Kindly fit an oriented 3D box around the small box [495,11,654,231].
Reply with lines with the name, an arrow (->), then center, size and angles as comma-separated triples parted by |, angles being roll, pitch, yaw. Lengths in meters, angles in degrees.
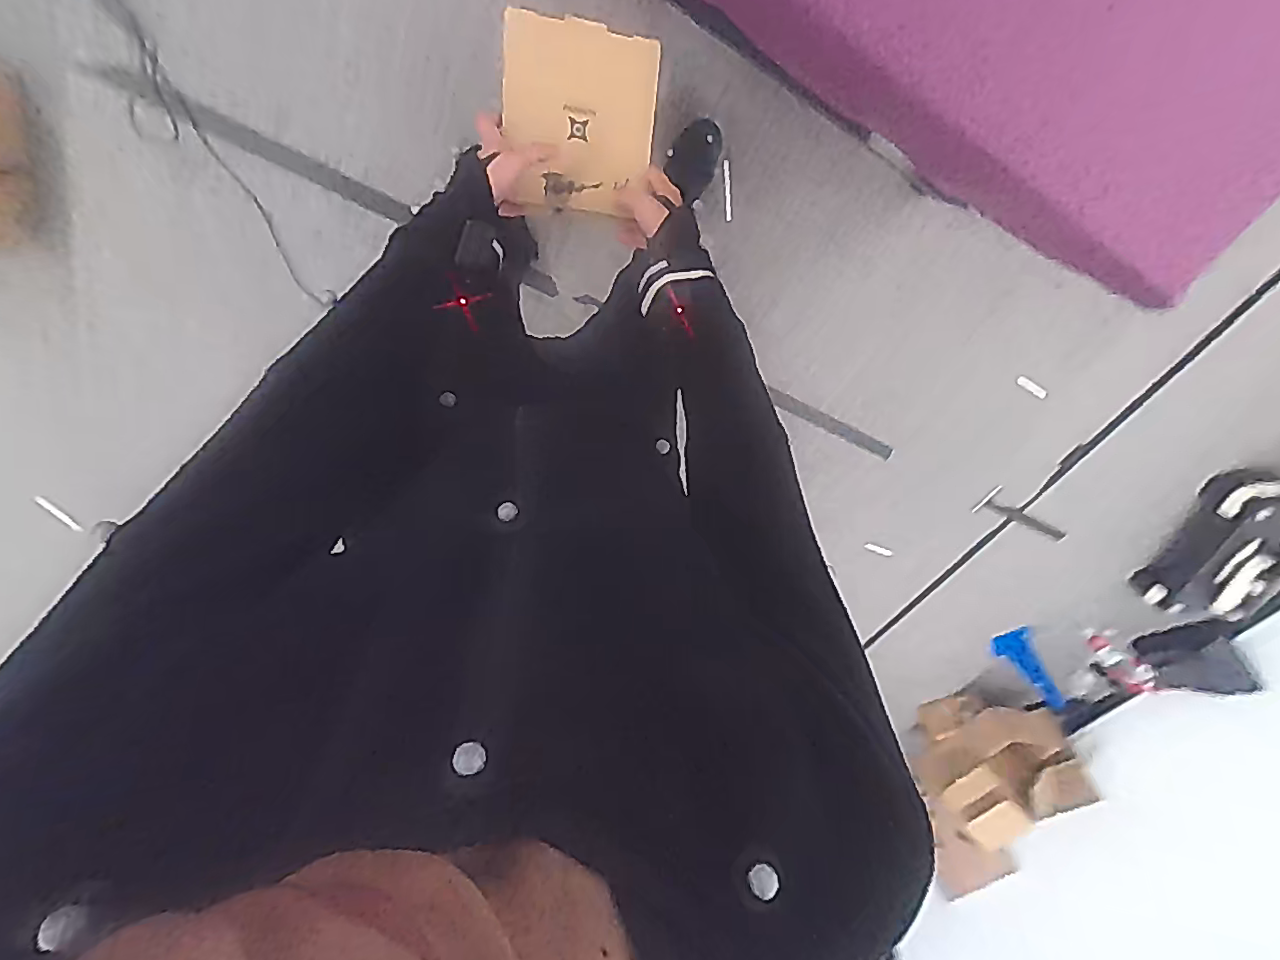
small box -> -0.089, -0.411, 0.654 | 0.168, 0.176, 0.179 | 1, 111, -14
